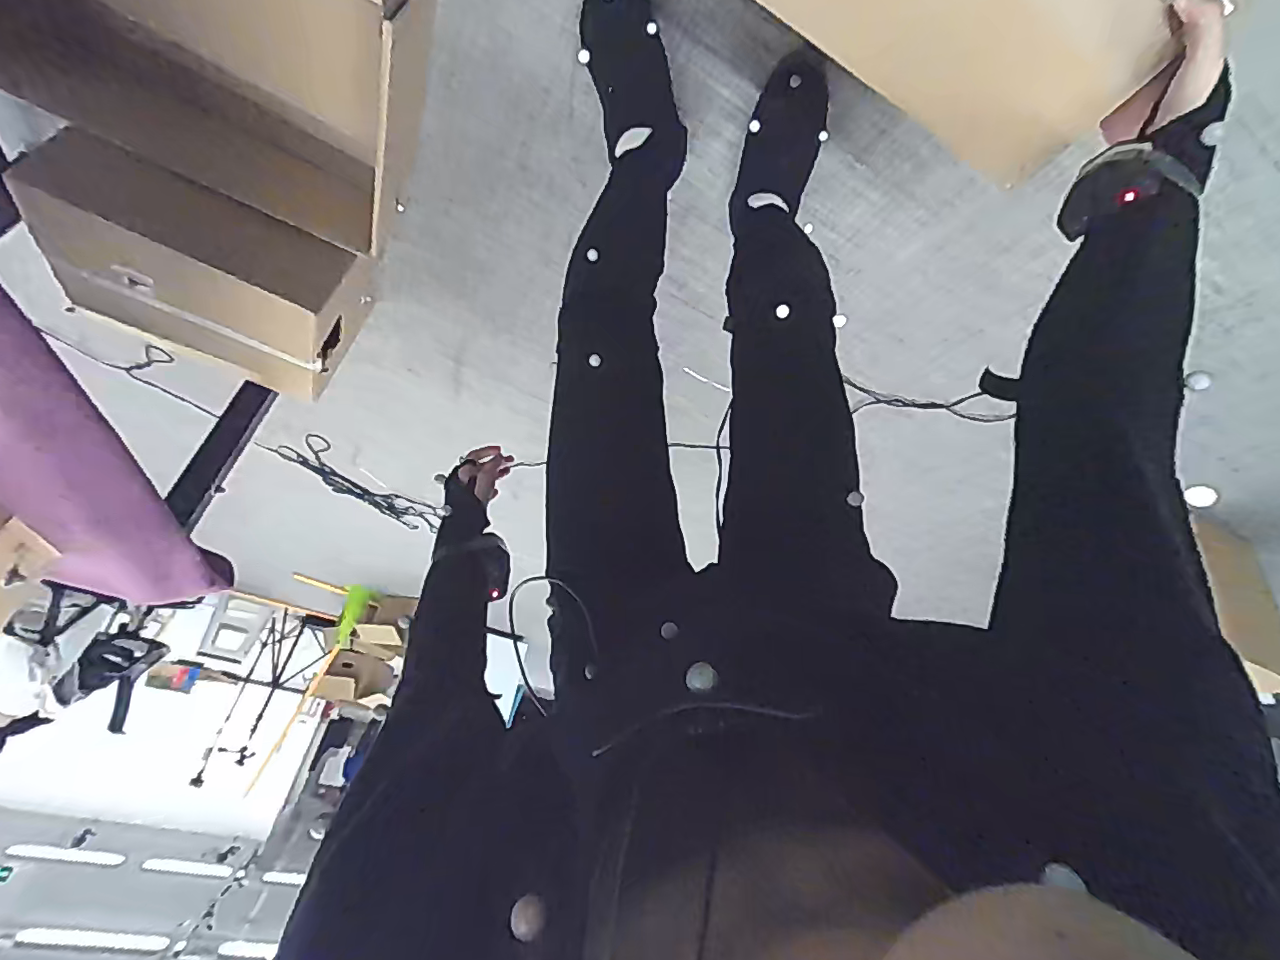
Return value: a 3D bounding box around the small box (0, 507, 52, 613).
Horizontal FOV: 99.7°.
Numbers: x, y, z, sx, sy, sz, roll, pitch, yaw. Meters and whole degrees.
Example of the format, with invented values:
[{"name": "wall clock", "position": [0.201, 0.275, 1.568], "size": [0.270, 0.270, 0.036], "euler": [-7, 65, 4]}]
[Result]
[{"name": "small box", "position": [-0.824, 0.100, 0.586], "size": [0.179, 0.176, 0.168], "euler": [23, 146, -21]}]
